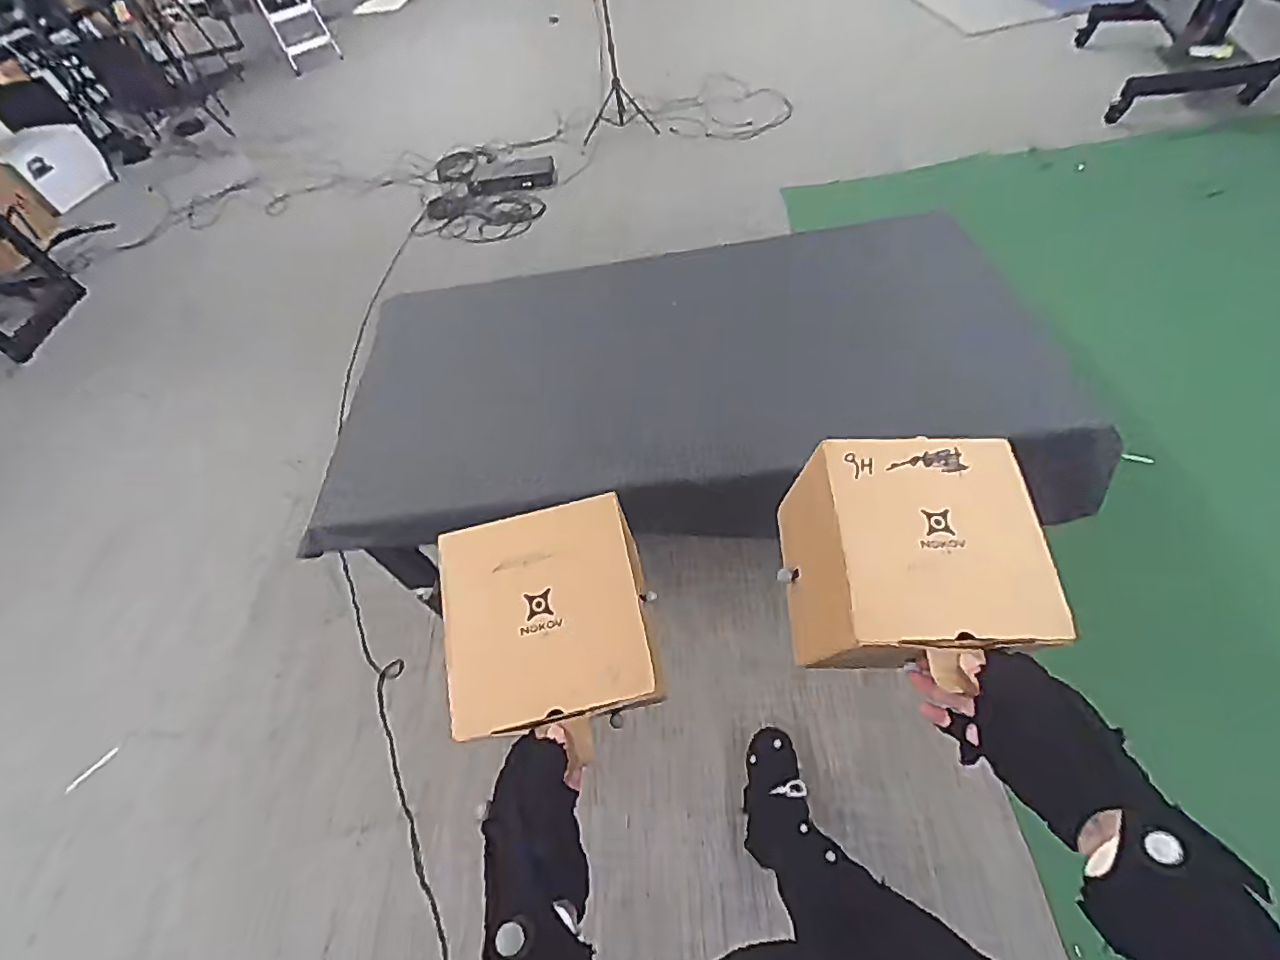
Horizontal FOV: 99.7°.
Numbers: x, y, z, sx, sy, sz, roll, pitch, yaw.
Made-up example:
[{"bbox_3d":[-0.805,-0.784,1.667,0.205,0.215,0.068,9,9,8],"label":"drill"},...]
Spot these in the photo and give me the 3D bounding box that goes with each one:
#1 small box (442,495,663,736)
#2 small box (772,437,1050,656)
[{"bbox_3d":[-0.078,0.140,0.539,0.168,0.176,0.179,-15,66,0],"label":"small box"},{"bbox_3d":[0.234,0.074,0.523,0.168,0.176,0.179,-1,66,-1],"label":"small box"}]
